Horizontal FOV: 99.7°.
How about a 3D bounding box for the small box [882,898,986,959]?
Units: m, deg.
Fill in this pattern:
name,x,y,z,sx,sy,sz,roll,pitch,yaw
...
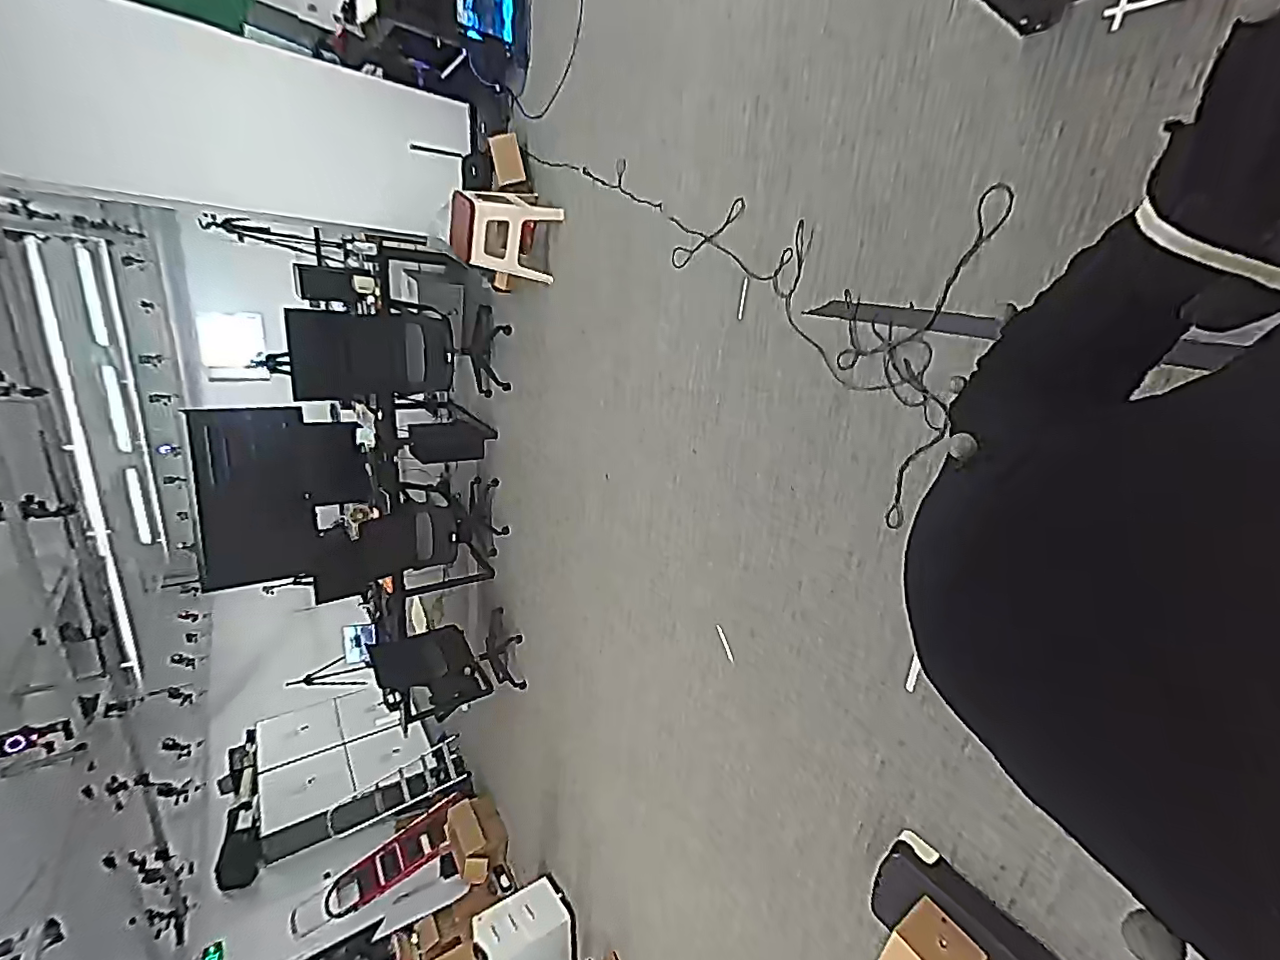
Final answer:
name,x,y,z,sx,sy,sz,roll,pitch,yaw
small box,0.759,1.243,1.396,0.168,0.176,0.179,35,125,47
